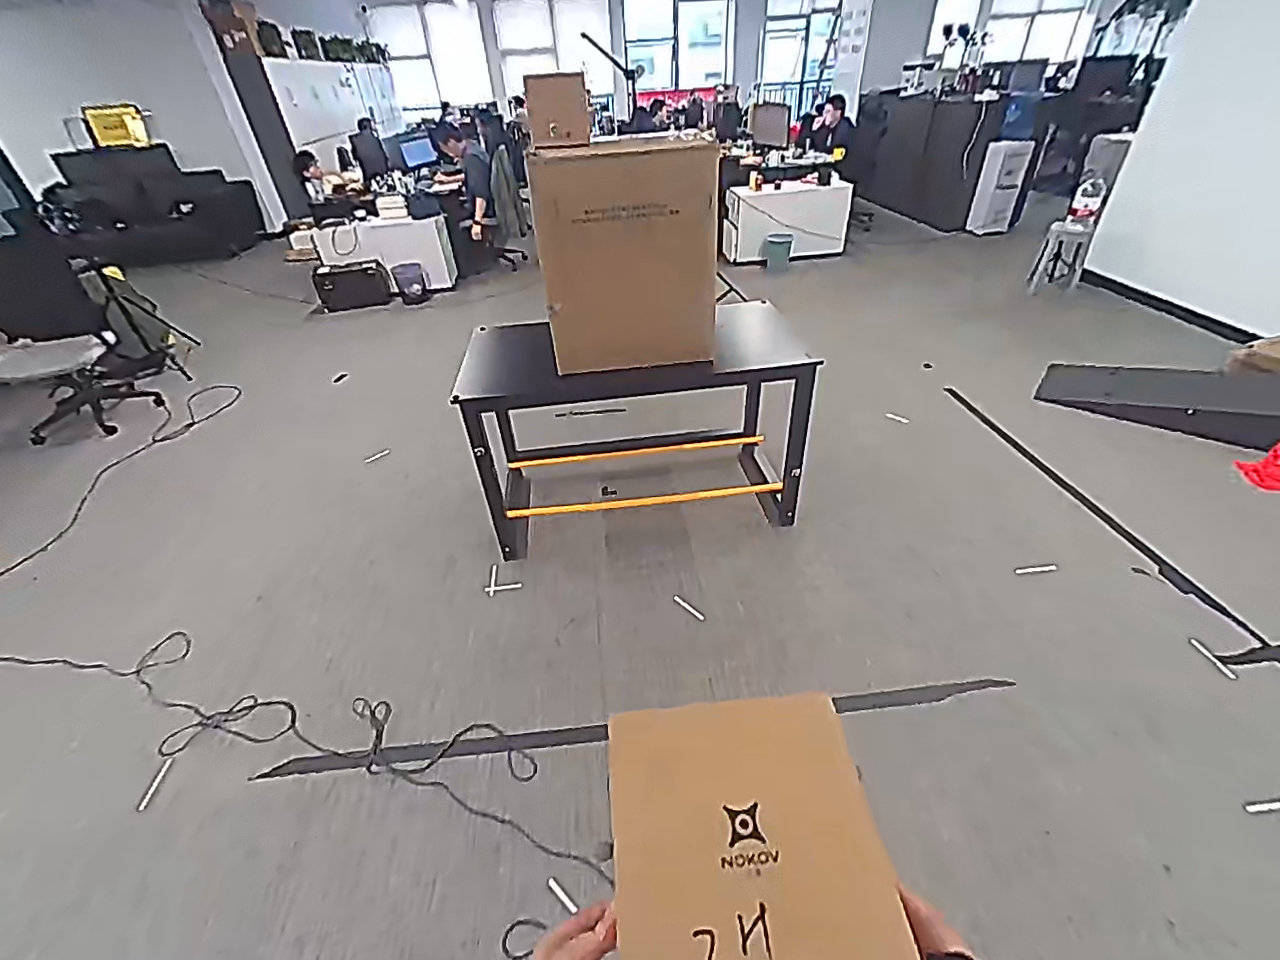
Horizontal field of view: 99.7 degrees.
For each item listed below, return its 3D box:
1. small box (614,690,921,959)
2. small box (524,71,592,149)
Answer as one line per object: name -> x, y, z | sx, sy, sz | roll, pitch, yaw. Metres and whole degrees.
small box -> 0.068, 0.277, 0.389 | 0.168, 0.176, 0.179 | -5, 45, -1
small box -> -0.226, -1.040, 1.522 | 0.168, 0.176, 0.179 | -6, 37, -3
